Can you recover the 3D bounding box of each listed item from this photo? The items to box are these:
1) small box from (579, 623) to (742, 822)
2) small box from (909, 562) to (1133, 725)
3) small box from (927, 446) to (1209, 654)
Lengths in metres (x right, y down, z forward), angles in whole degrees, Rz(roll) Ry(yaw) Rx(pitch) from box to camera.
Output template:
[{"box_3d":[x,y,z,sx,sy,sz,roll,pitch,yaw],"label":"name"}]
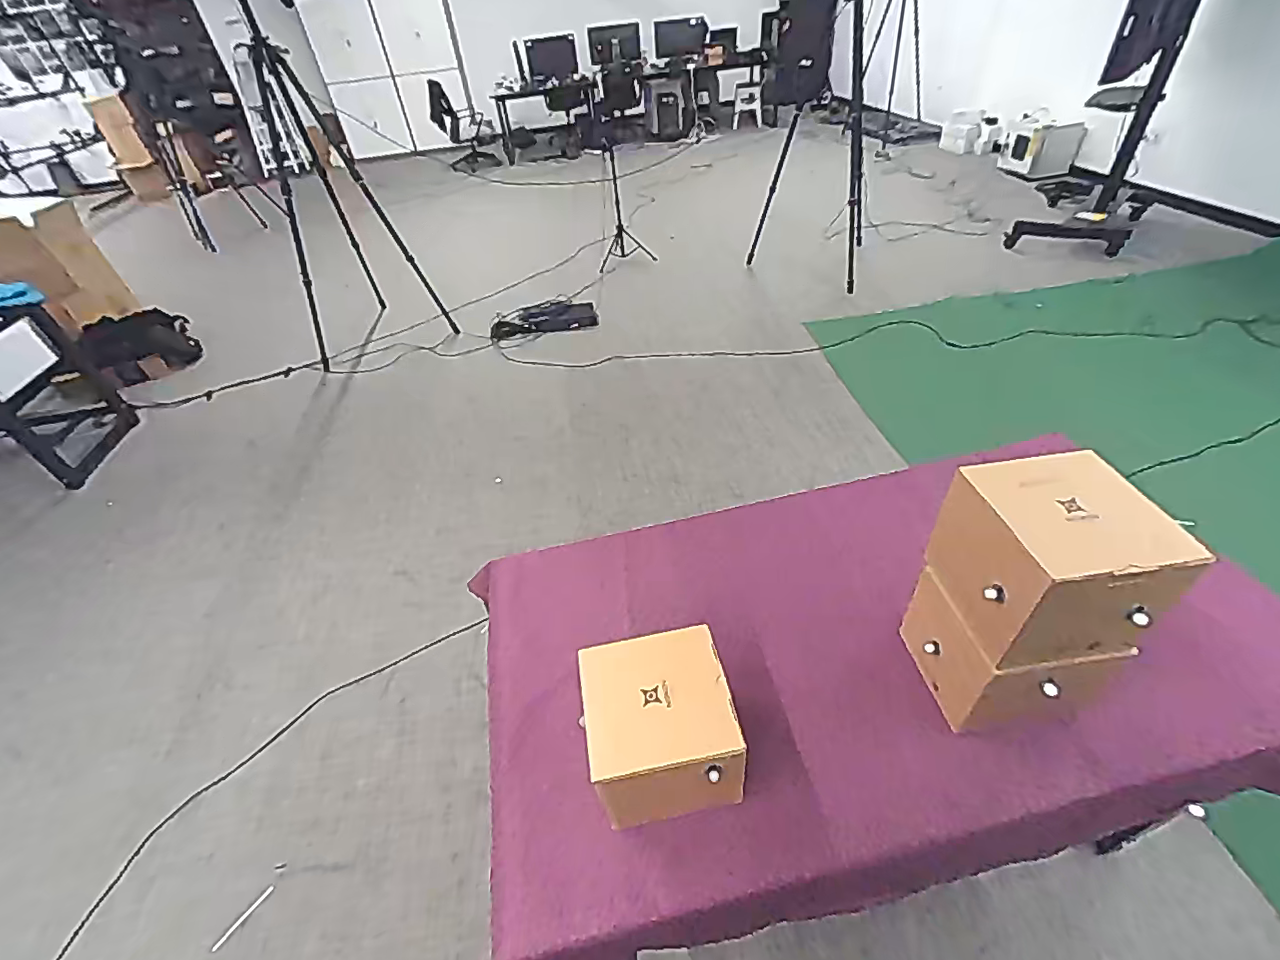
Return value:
[{"box_3d":[0.027,0.318,0.706,0.179,0.176,0.168,-11,42,-4],"label":"small box"},{"box_3d":[0.492,0.213,0.738,0.179,0.176,0.168,-9,42,0],"label":"small box"},{"box_3d":[0.472,0.087,0.636,0.168,0.176,0.179,-8,41,0],"label":"small box"}]
